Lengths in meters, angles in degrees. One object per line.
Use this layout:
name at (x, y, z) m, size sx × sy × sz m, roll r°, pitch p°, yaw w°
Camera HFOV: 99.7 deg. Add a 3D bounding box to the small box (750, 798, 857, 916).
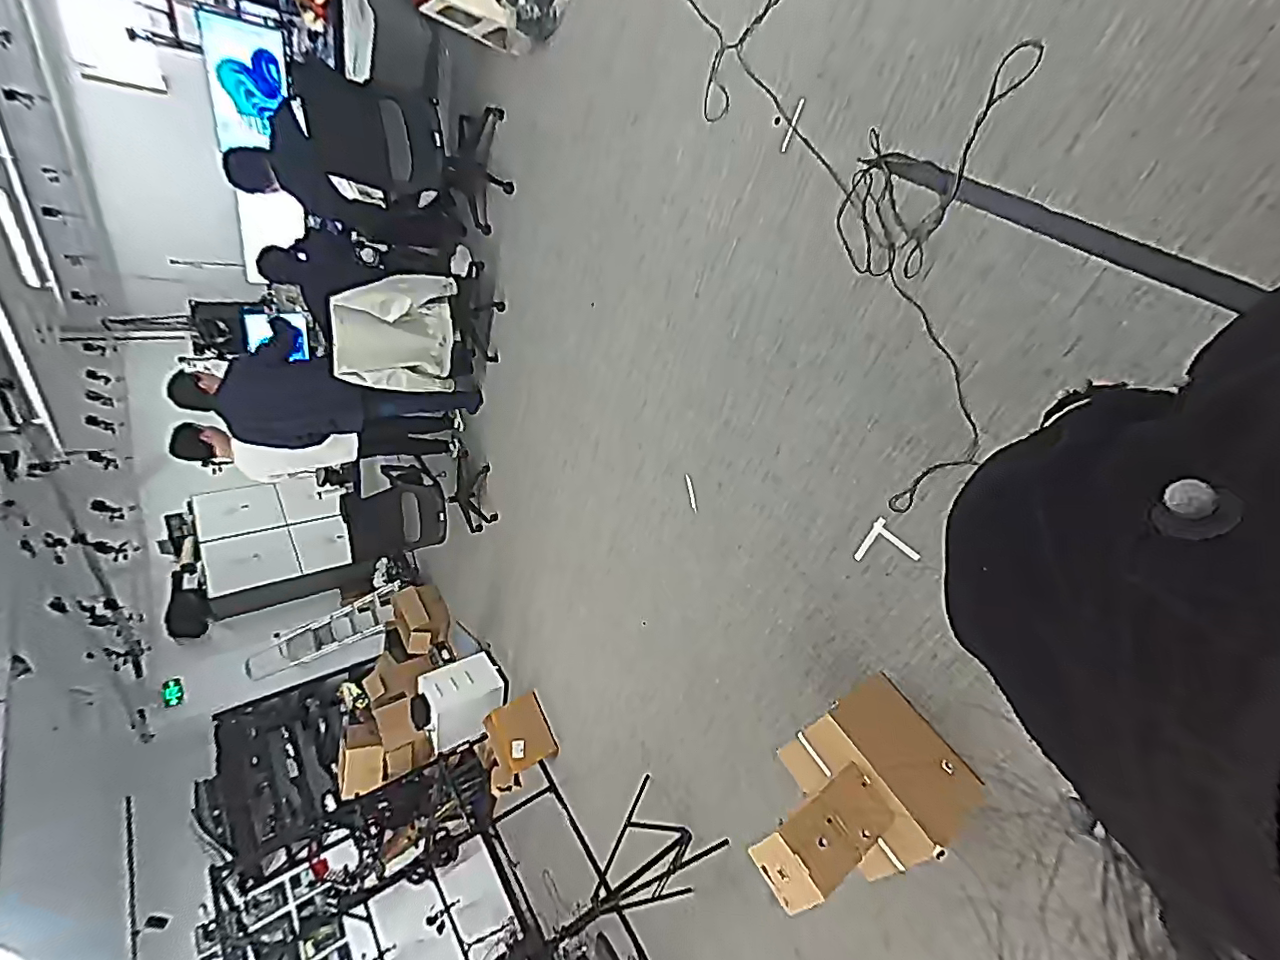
small box at (0.421, 0.952, 1.376) m, size 0.168 × 0.176 × 0.179 m, roll 51°, pitch 135°, yaw 29°
